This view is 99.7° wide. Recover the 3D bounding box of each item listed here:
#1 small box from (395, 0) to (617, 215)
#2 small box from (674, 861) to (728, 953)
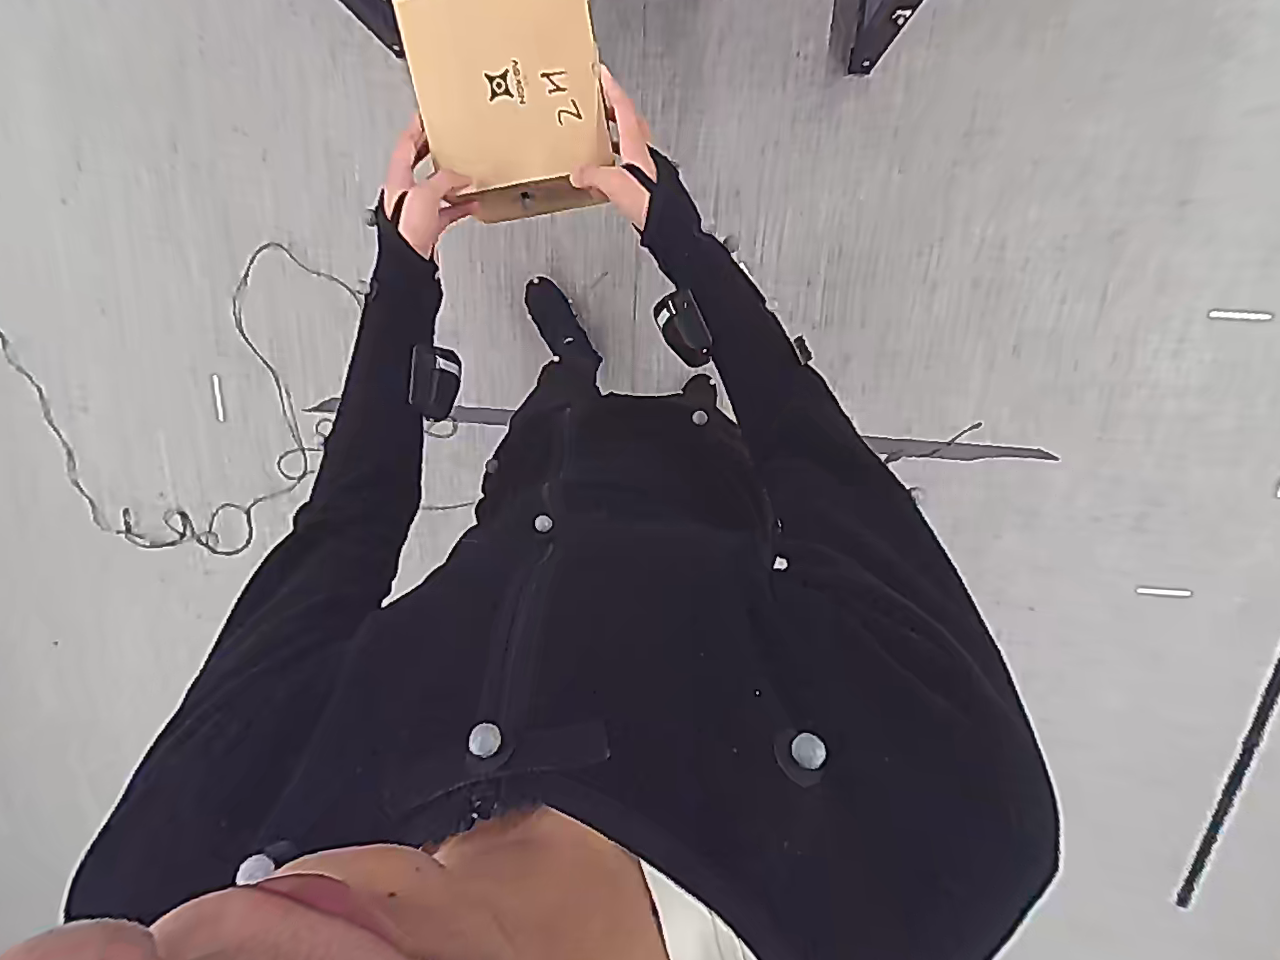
[{"bbox_3d":[-0.123,-0.394,0.576,0.179,0.176,0.168,-8,108,2],"label":"small box"},{"bbox_3d":[0.198,1.402,1.778,0.168,0.176,0.179,-1,105,2],"label":"small box"}]
